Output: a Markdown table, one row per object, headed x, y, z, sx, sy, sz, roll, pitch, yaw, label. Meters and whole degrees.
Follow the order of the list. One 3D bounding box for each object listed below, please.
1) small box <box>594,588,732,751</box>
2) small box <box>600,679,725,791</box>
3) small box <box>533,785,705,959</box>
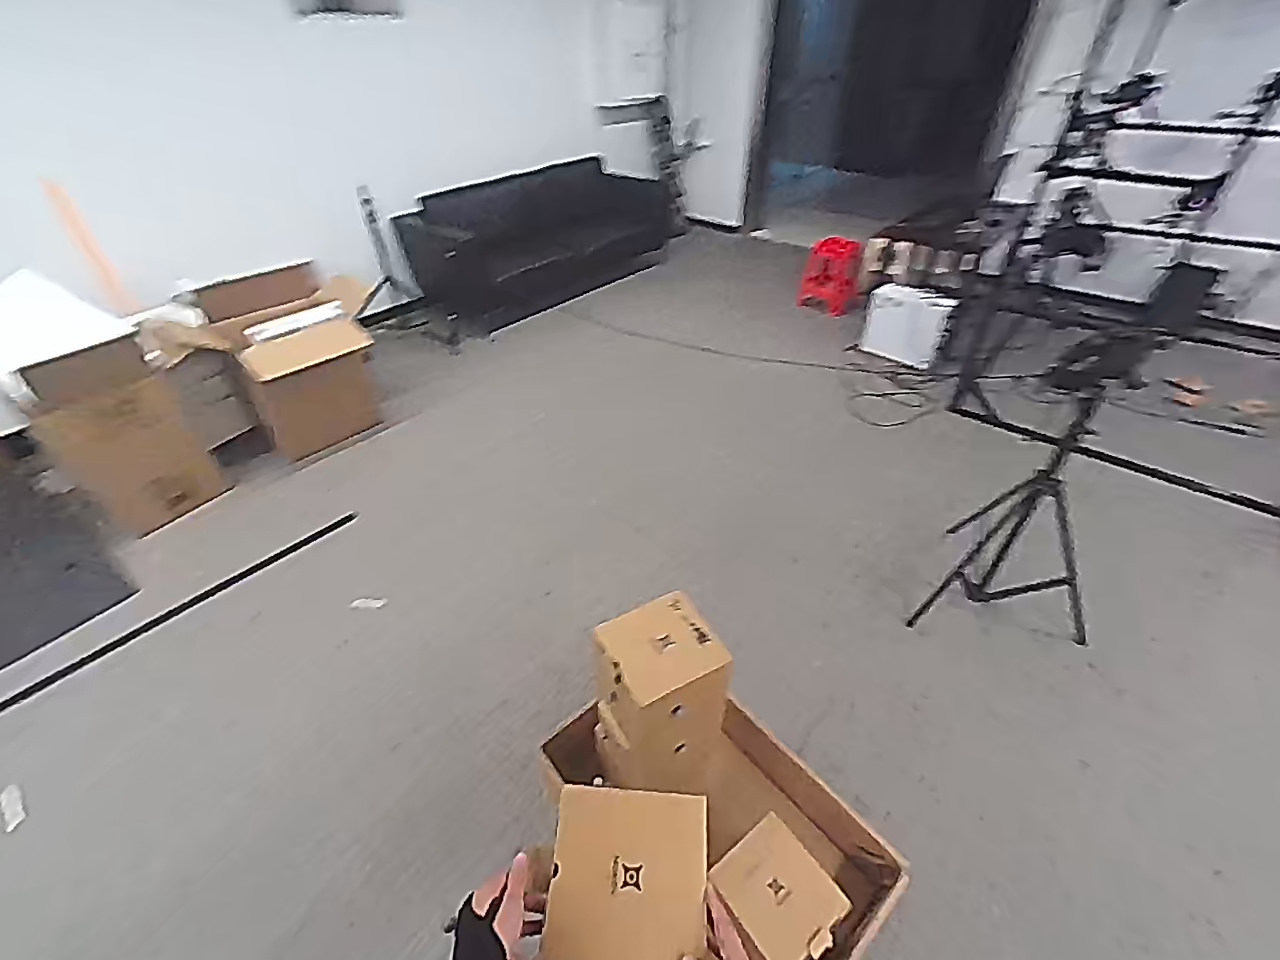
| x | y | z | sx | sy | sz | roll | pitch | yaw | label |
| --- | --- | --- | --- | --- | --- | --- | --- | --- | --- |
| 0.036 | 0.324 | 0.926 | 0.179 | 0.176 | 0.168 | -19 | 43 | -21 | small box |
| 0.040 | 0.450 | 1.033 | 0.179 | 0.176 | 0.168 | -21 | 43 | -25 | small box |
| -0.013 | 0.480 | 0.654 | 0.179 | 0.176 | 0.168 | 0 | 52 | 6 | small box |
